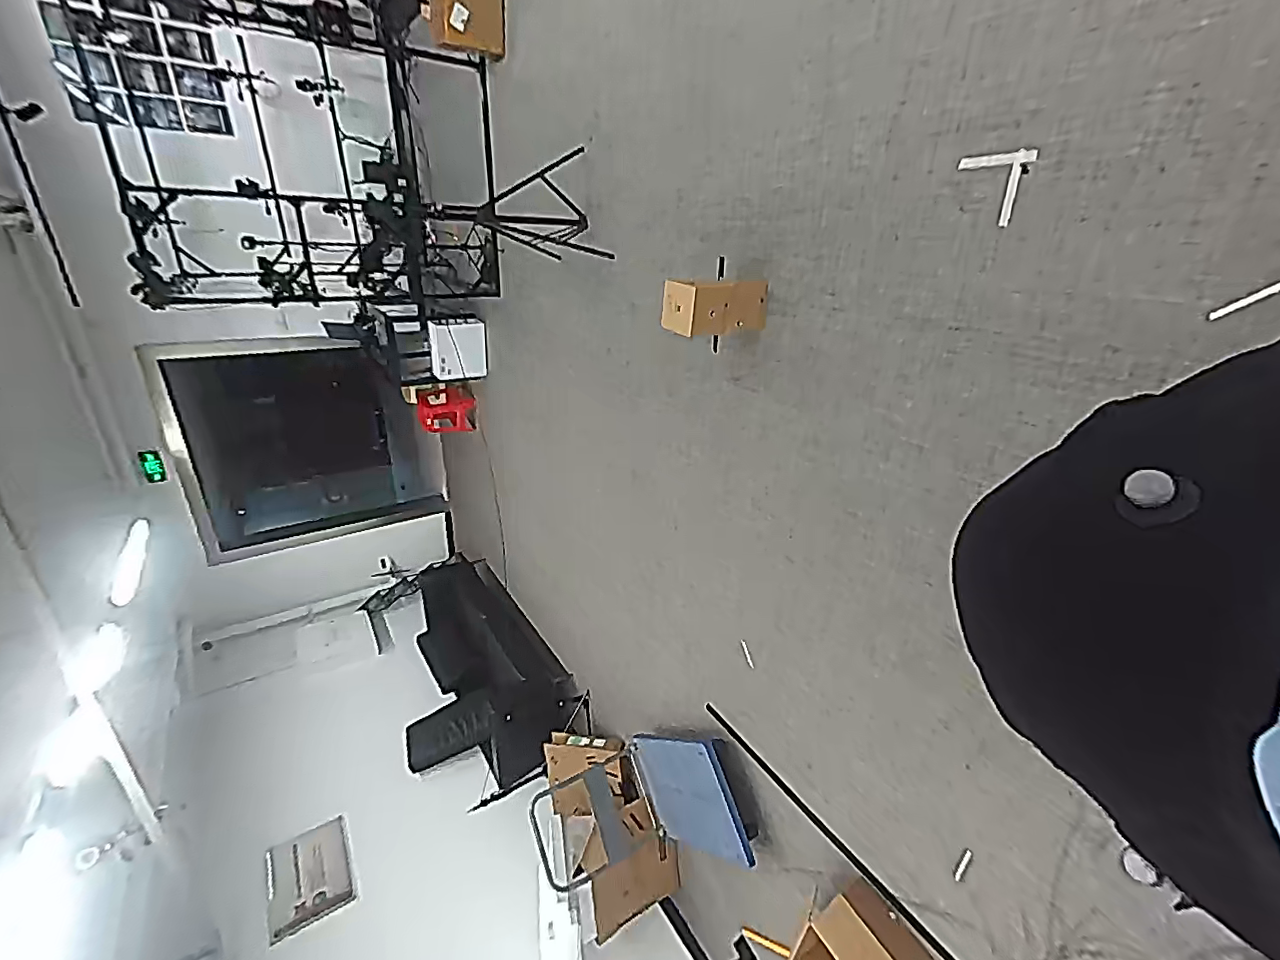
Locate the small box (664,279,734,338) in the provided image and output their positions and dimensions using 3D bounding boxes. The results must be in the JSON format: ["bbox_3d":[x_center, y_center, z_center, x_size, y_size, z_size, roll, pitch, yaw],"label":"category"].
[{"bbox_3d":[0.208,-0.607,1.899,0.179,0.176,0.168,39,133,47],"label":"small box"}]
